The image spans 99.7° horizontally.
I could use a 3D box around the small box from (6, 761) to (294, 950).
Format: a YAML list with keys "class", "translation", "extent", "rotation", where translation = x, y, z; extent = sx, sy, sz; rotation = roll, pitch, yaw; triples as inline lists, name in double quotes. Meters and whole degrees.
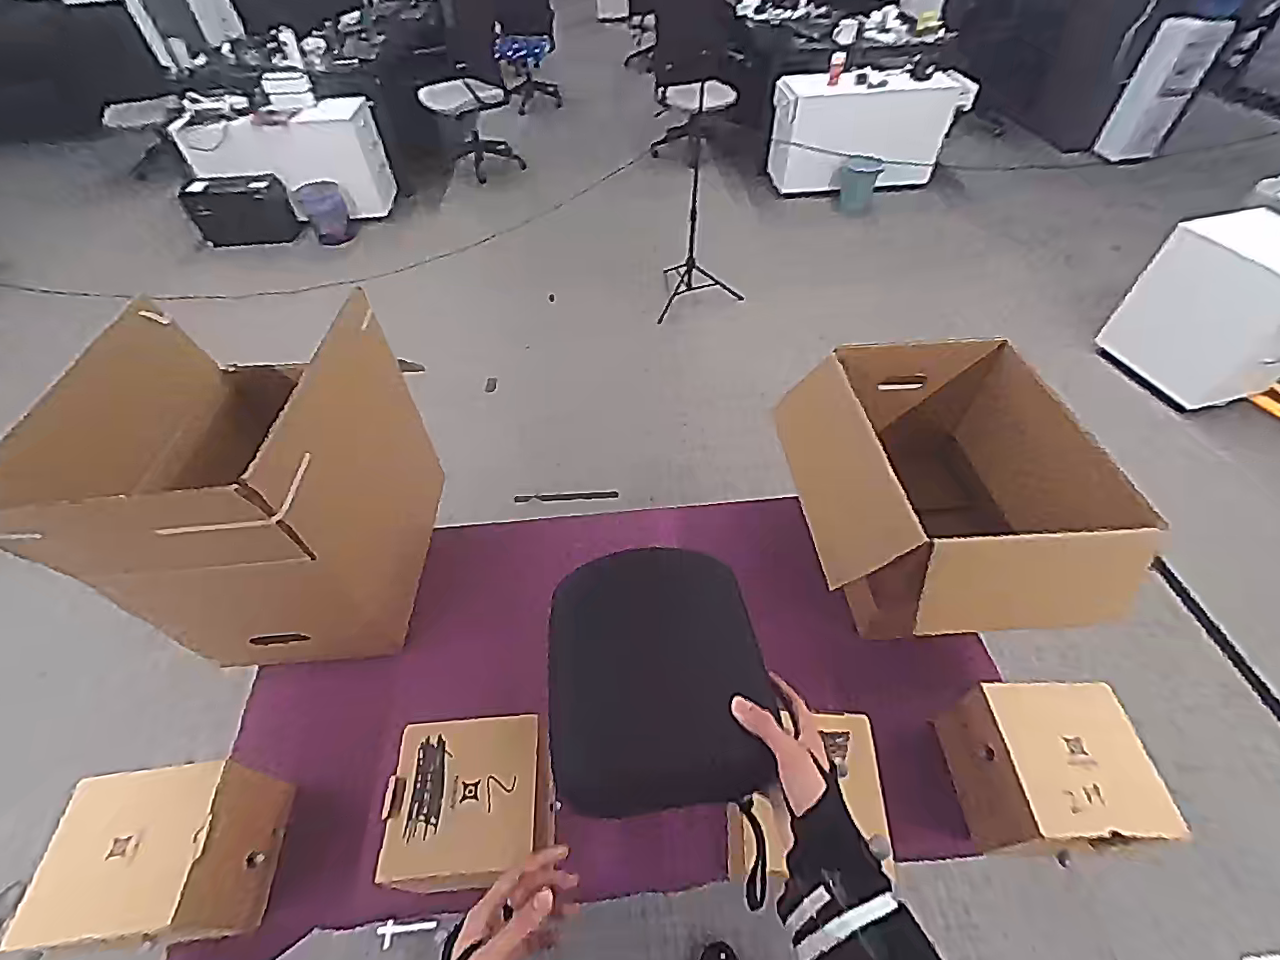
- class: "small box"
  translation: [-0.584, 0.474, 0.680]
  extent: [0.179, 0.176, 0.168]
  rotation: [-5, 50, -4]

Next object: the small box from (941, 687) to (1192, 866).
- class: "small box"
  translation: [0.532, 0.391, 0.713]
  extent: [0.168, 0.176, 0.179]
  rotation: [-1, 49, 2]
